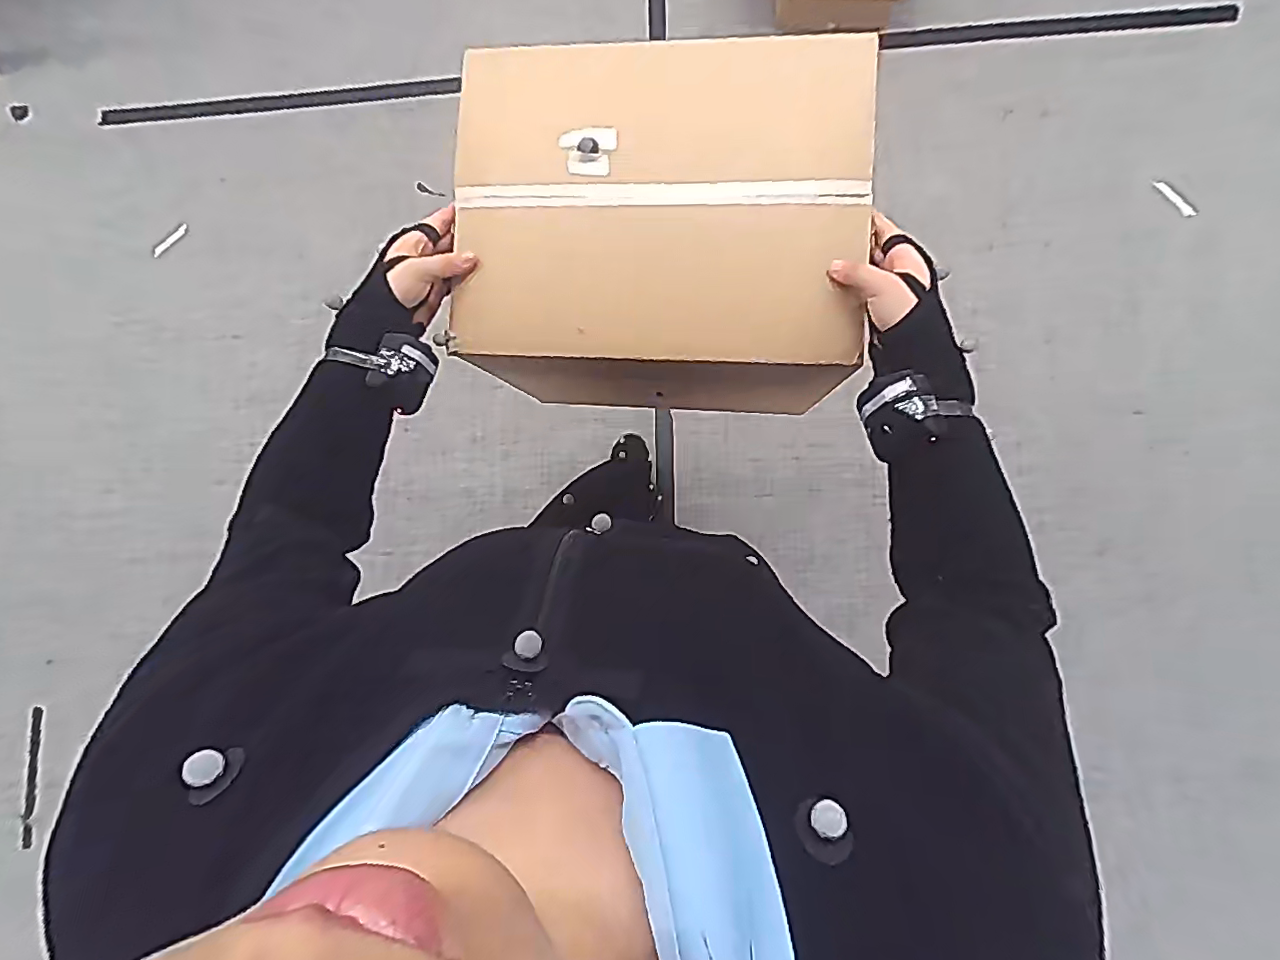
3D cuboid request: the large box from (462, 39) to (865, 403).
[{"bbox_3d":[0.036,-0.273,0.686,0.408,0.320,0.320,2,88,7],"label":"large box"}]
